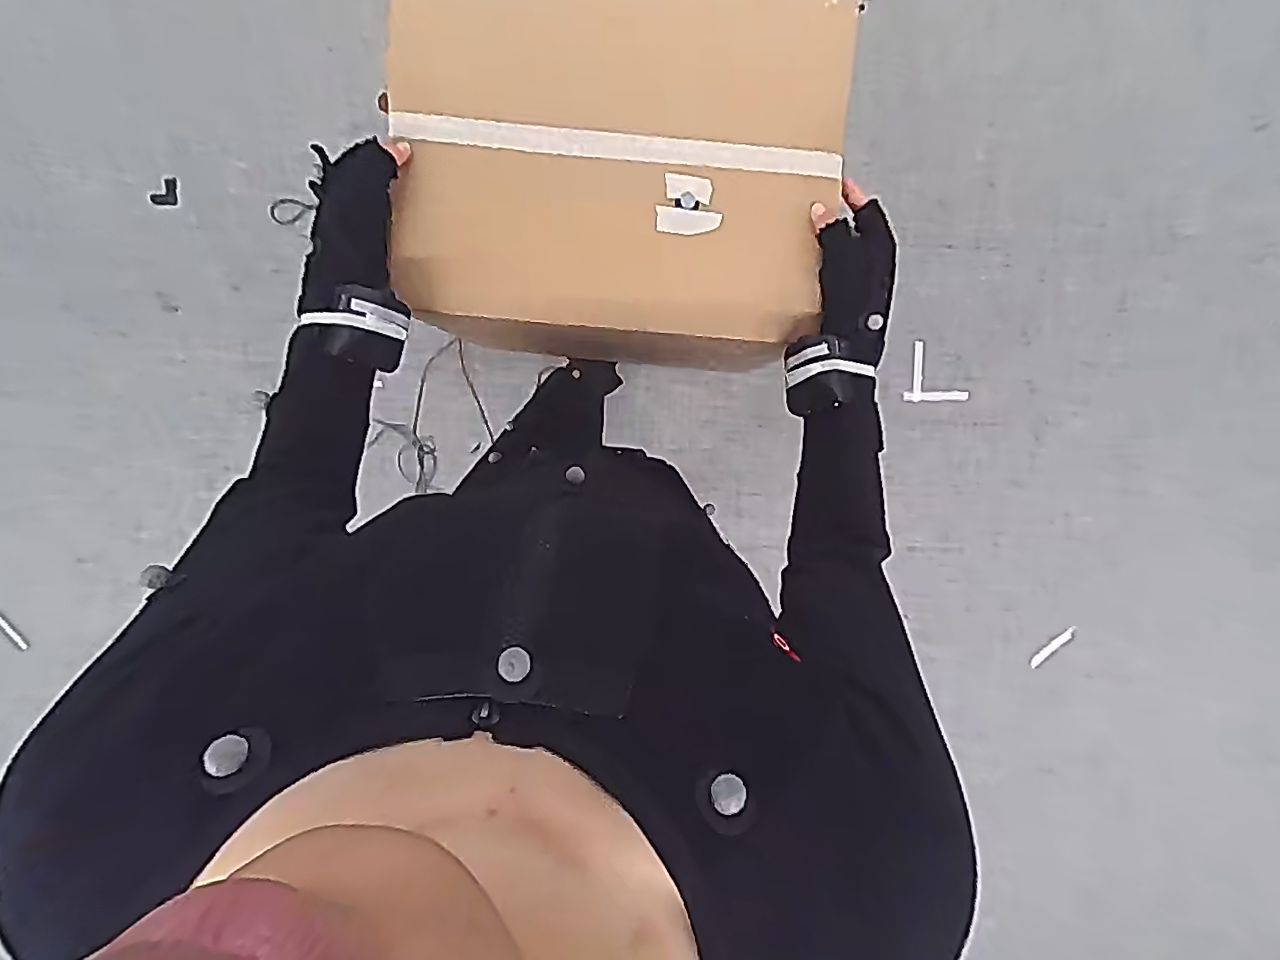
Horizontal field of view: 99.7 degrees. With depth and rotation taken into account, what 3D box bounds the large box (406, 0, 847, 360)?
[{"bbox_3d":[-0.022,-0.327,0.652,0.408,0.320,0.320,4,97,-2],"label":"large box"}]
